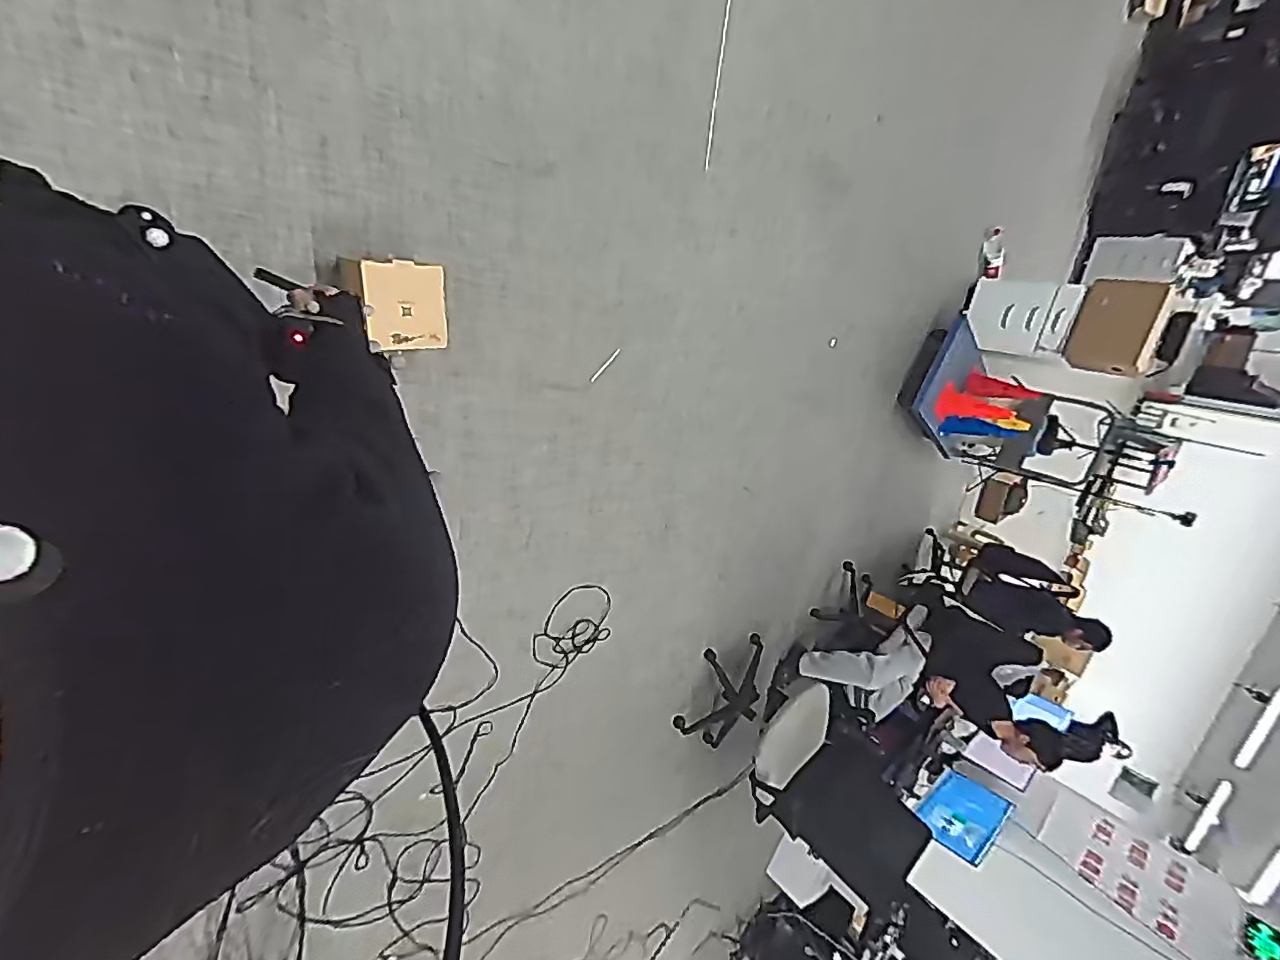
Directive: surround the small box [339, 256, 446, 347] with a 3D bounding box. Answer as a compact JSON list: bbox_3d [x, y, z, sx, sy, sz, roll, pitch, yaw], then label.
[{"bbox_3d":[-0.542,-0.391,1.183,0.168,0.176,0.179,-14,117,-38],"label":"small box"}]
